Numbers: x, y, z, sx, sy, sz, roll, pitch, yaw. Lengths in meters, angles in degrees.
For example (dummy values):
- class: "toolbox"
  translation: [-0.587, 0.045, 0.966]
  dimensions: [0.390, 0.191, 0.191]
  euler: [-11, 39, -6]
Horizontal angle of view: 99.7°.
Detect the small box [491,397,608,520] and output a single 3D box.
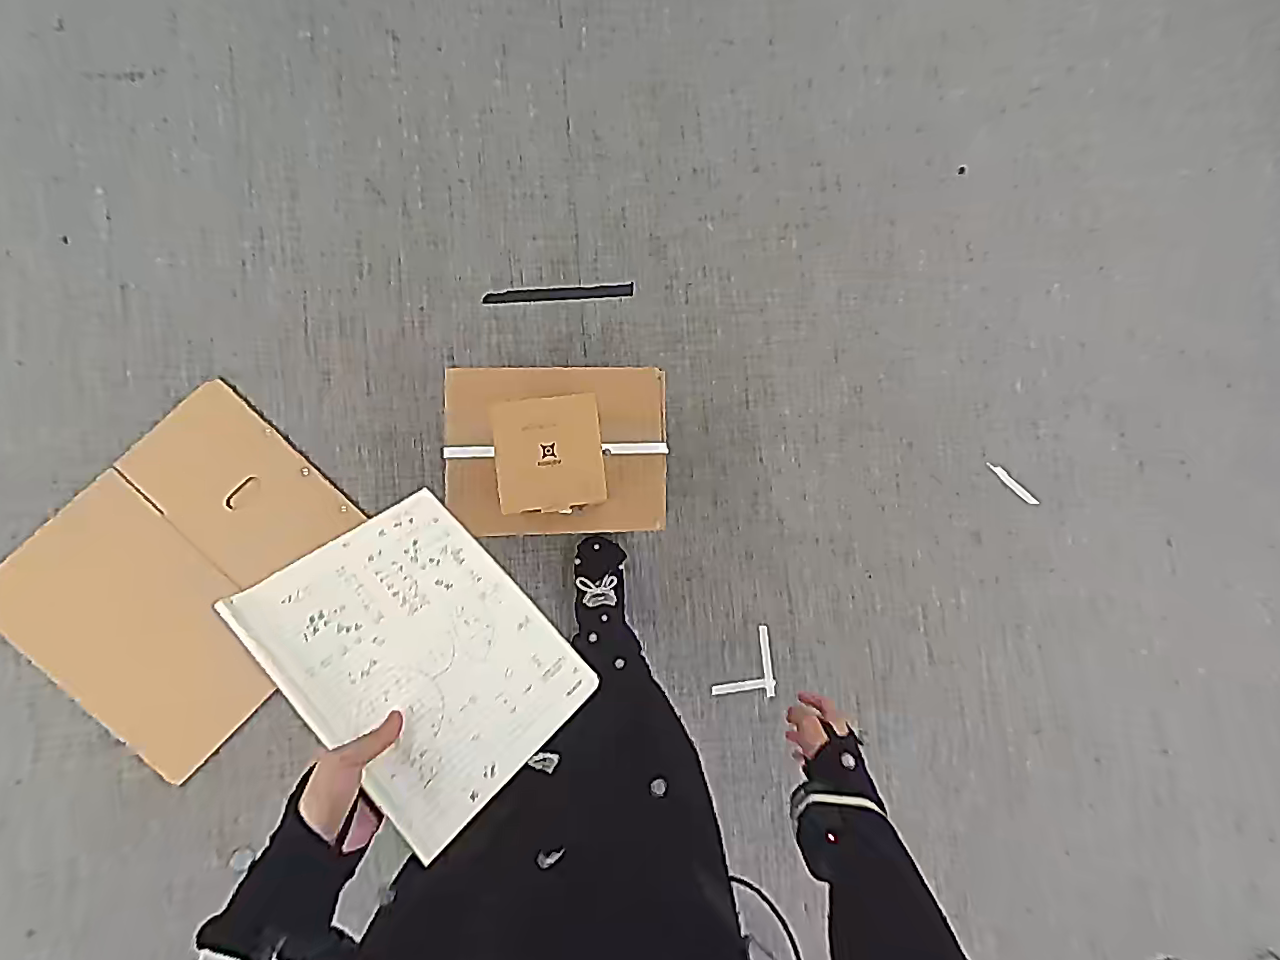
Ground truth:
- class: "small box"
  translation: [-0.144, -0.032, 0.903]
  dimensions: [0.168, 0.176, 0.179]
  euler: [-7, 88, -6]
